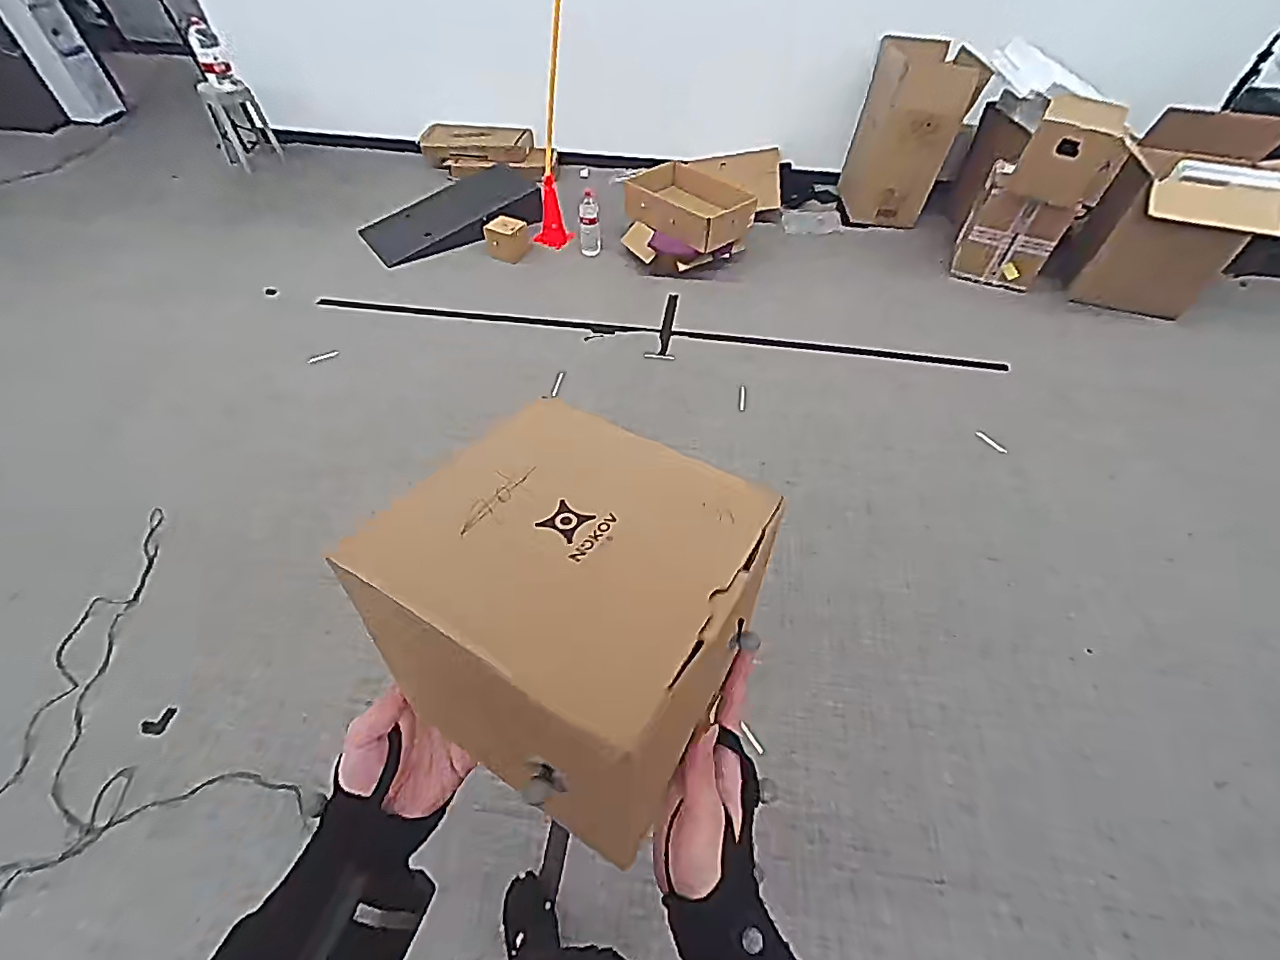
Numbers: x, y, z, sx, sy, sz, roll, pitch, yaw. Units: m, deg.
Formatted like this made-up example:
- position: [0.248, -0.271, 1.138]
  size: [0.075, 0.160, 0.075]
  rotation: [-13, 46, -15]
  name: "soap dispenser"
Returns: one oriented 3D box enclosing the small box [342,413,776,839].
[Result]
- position: [-0.037, 0.089, 0.343]
  size: [0.179, 0.176, 0.168]
  rotation: [21, 44, 21]
  name: "small box"
